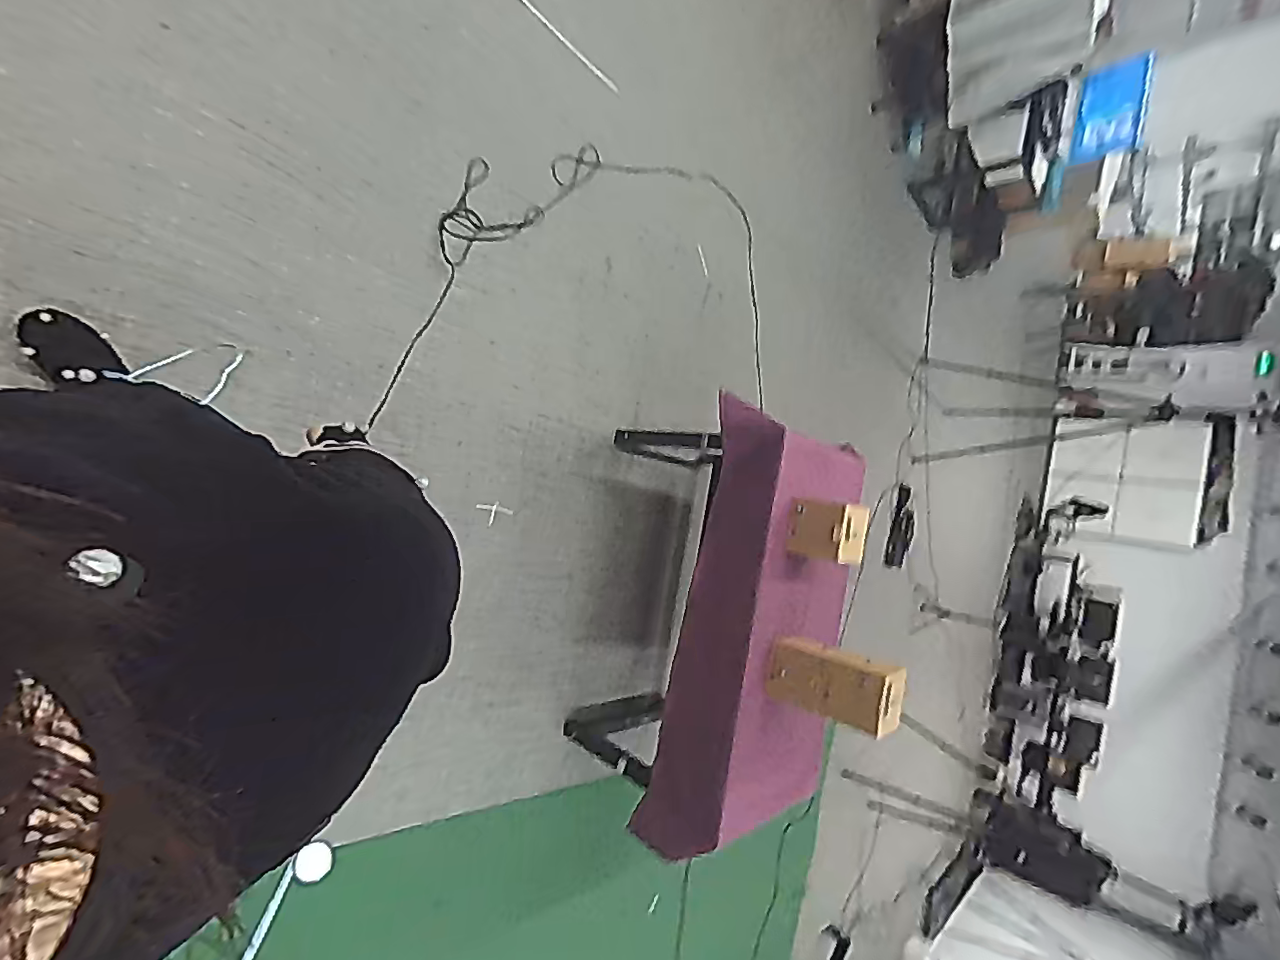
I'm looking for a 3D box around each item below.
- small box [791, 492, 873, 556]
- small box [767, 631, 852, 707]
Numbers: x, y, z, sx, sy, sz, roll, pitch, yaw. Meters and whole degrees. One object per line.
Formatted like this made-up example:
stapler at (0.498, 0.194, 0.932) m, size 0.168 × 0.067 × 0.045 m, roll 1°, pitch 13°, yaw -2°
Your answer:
small box at (0.574, 0.131, 1.623) m, size 0.179 × 0.176 × 0.168 m, roll 9°, pitch 90°, yaw -46°
small box at (0.510, 0.560, 1.626) m, size 0.179 × 0.176 × 0.168 m, roll 14°, pitch 86°, yaw -45°
